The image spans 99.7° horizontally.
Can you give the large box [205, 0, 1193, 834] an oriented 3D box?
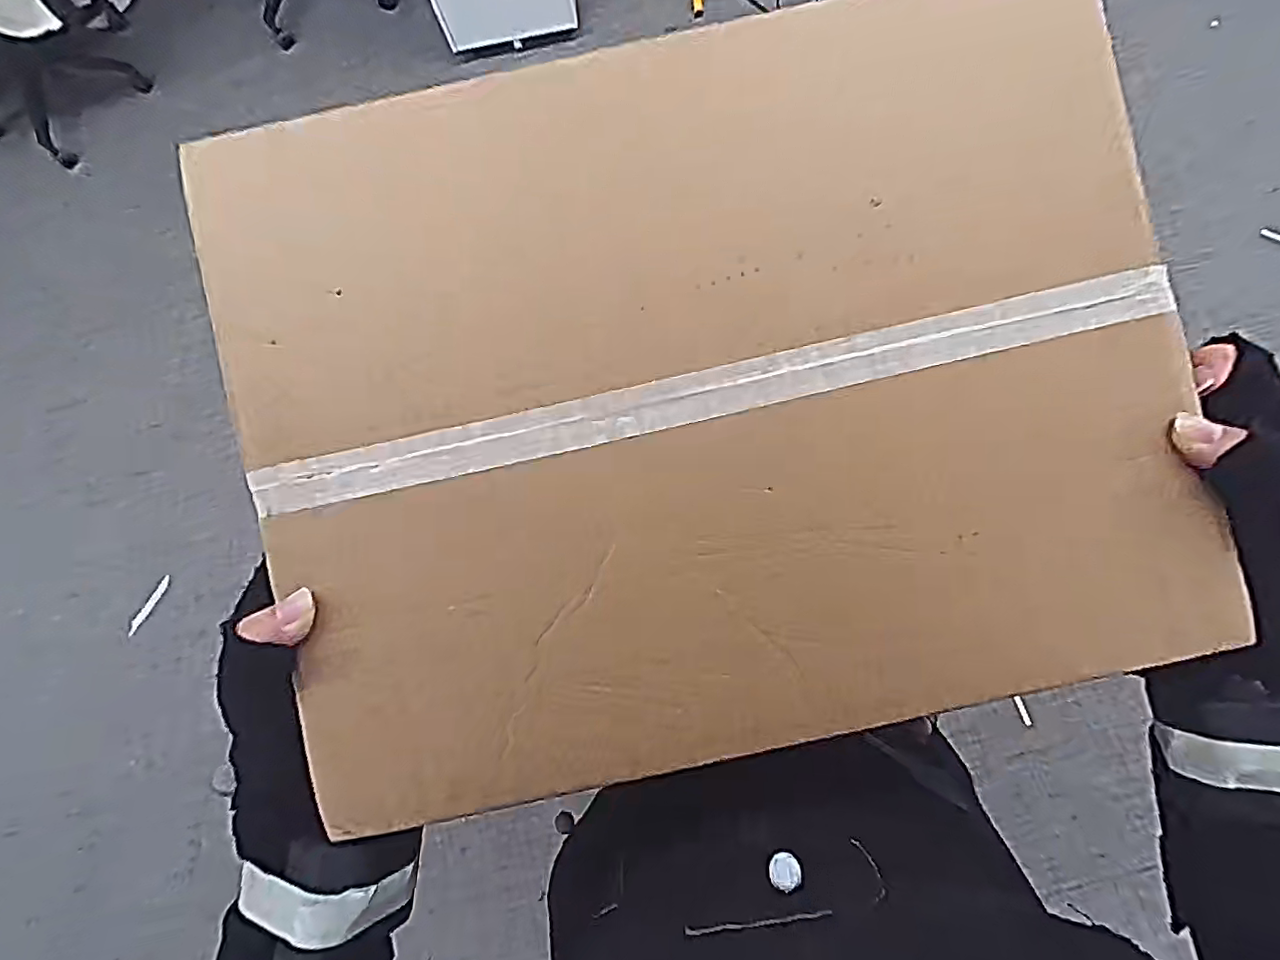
[{"bbox_3d":[0.028,-0.033,0.395,0.408,0.320,0.320,-13,89,1],"label":"large box"}]
